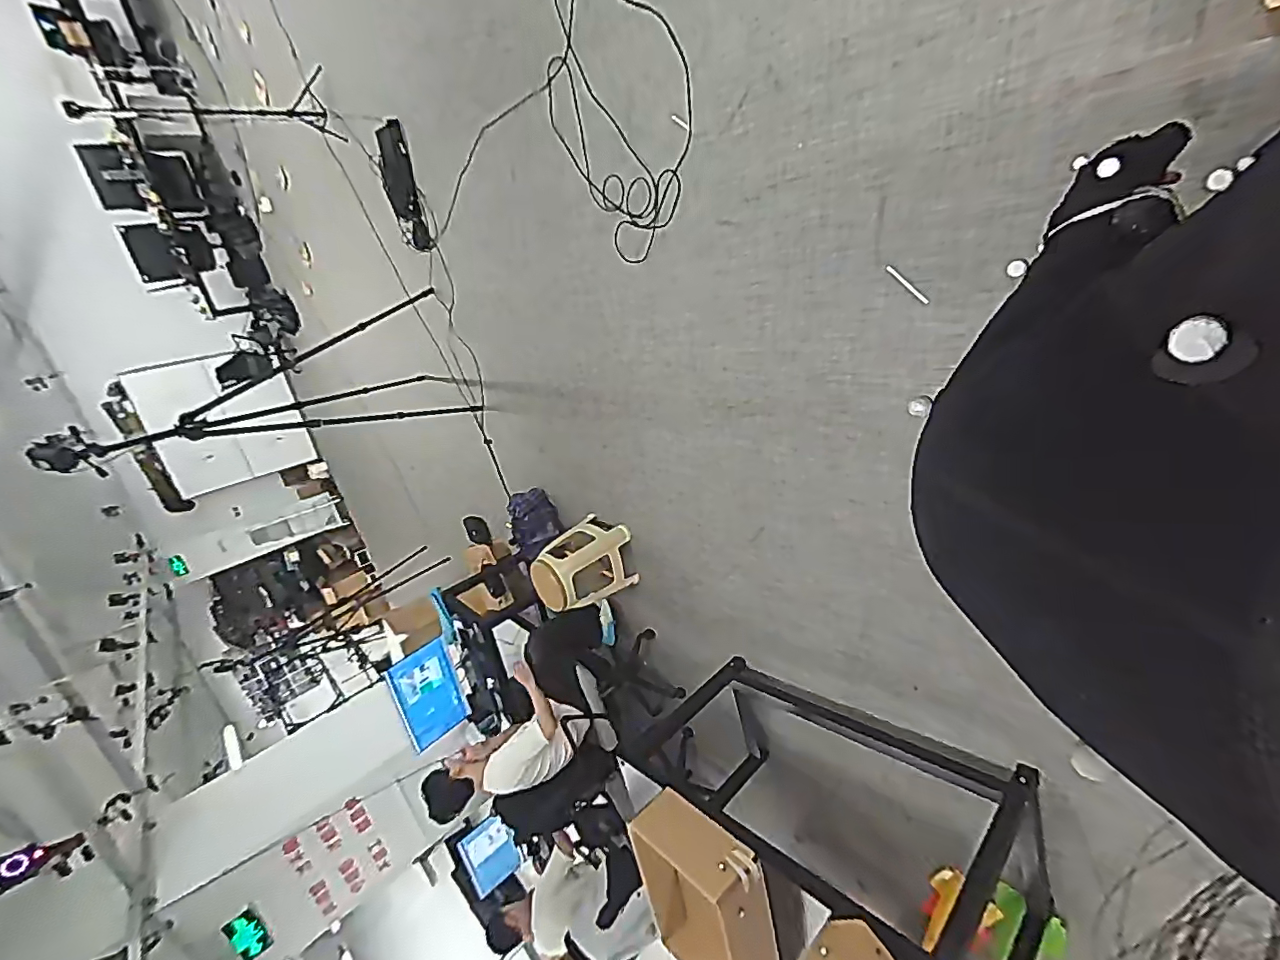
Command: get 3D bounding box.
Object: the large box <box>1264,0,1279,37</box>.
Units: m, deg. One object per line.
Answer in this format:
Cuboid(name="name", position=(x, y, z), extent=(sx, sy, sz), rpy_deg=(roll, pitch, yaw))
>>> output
Cuboid(name="large box", position=(0.984, -0.808, 0.600), extent=(0.408, 0.320, 0.320), rpy_deg=(-4, 108, 51))
